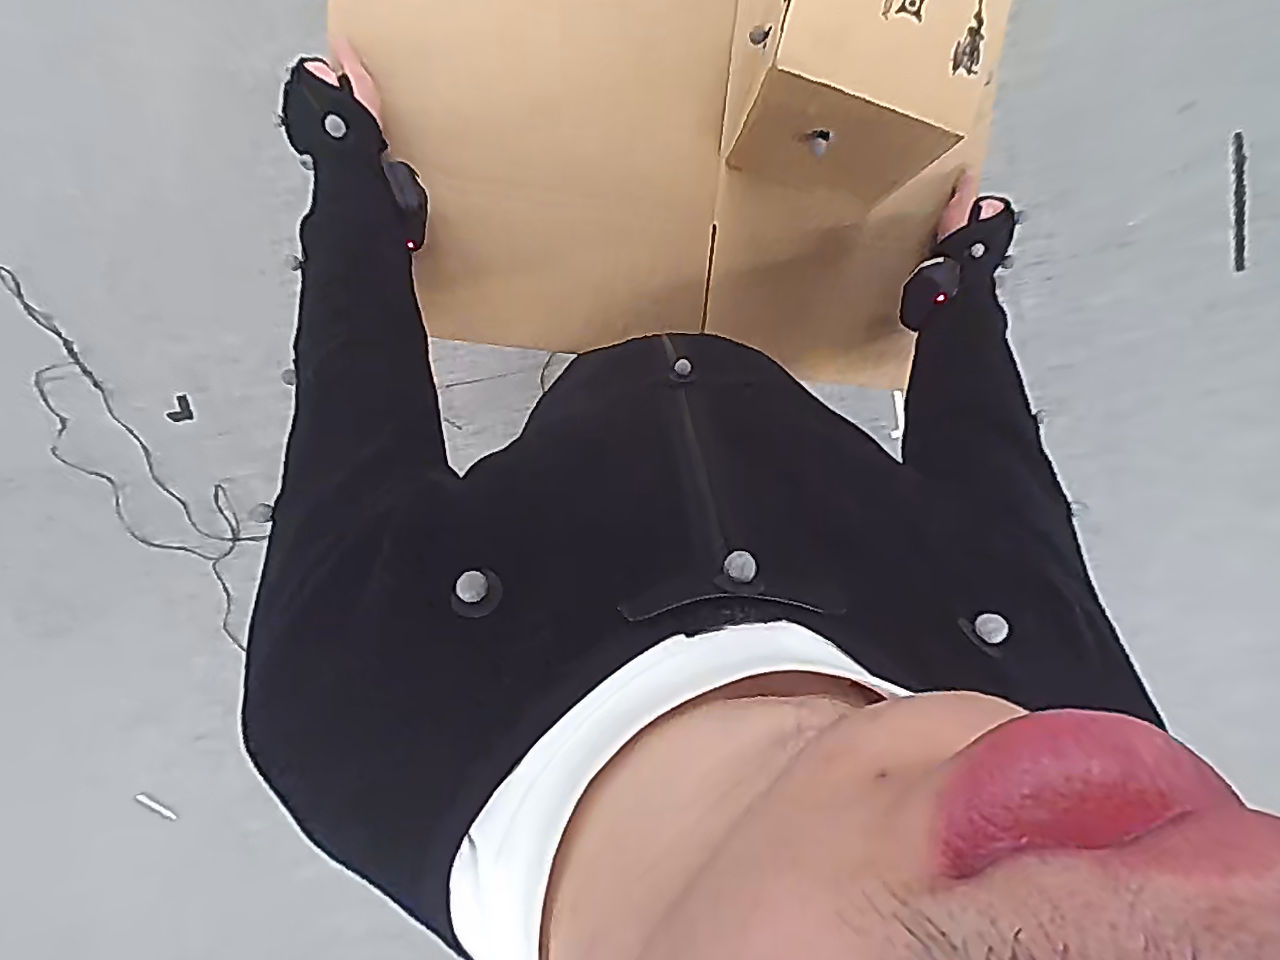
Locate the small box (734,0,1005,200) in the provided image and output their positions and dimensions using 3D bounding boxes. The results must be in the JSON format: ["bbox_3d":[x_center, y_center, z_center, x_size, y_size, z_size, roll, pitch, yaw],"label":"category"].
[{"bbox_3d":[0.206,-0.400,0.519,0.179,0.176,0.168,16,96,-5],"label":"small box"}]
